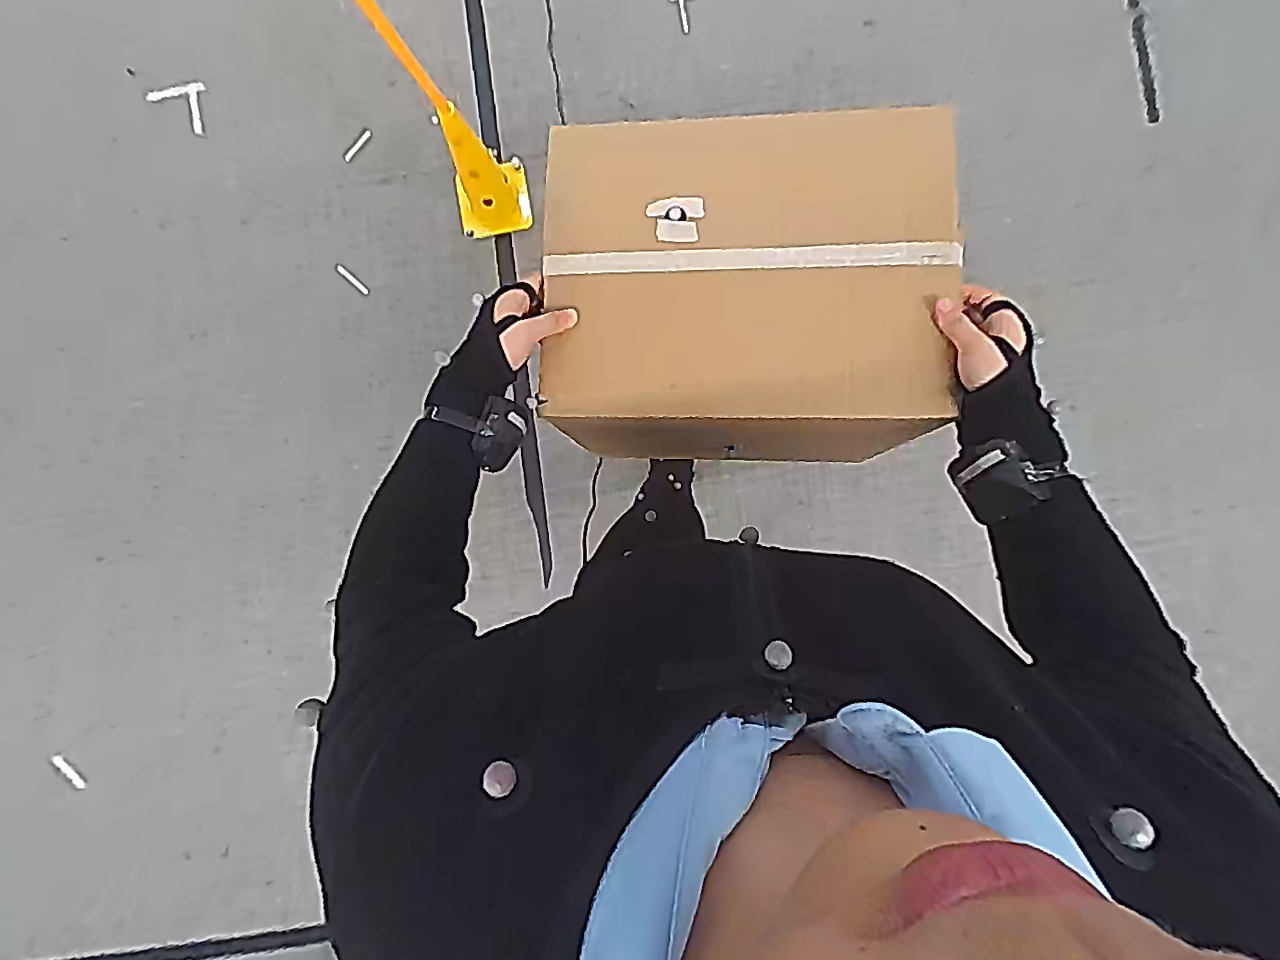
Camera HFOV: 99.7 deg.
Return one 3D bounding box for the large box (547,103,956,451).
[{"bbox_3d":[0.124,-0.209,0.694,0.408,0.320,0.320,1,83,8],"label":"large box"}]
